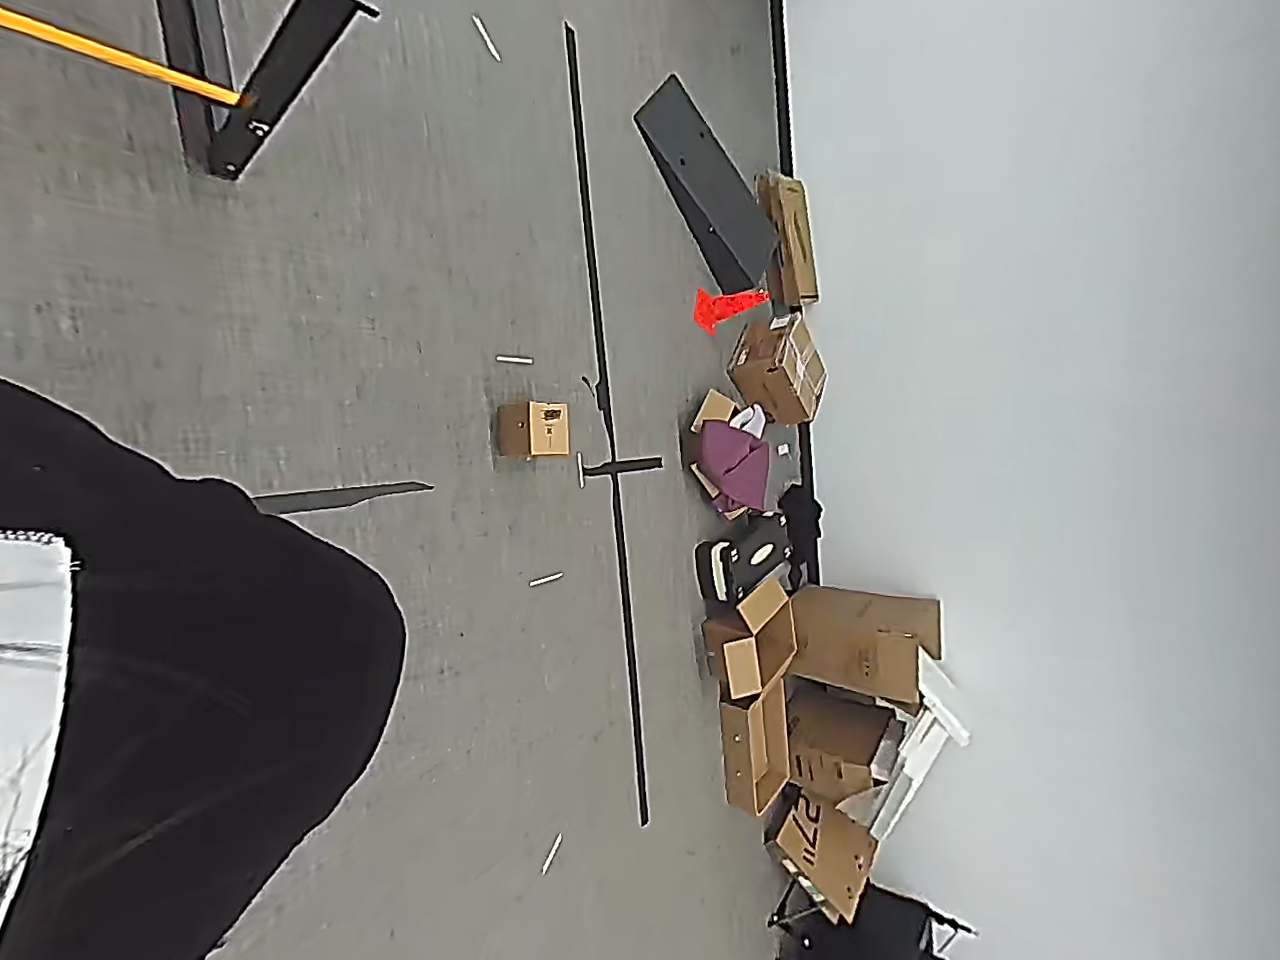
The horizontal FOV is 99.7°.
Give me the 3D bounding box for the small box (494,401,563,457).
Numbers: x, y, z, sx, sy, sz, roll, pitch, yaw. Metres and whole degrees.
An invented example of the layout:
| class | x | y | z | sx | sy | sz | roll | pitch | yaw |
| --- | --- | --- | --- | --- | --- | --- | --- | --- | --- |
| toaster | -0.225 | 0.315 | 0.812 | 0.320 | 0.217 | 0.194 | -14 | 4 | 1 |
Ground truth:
| class | x | y | z | sx | sy | sz | roll | pitch | yaw |
| --- | --- | --- | --- | --- | --- | --- | --- | --- | --- |
| small box | -0.383 | -0.170 | 1.850 | 0.168 | 0.176 | 0.179 | -4 | 93 | -50 |
